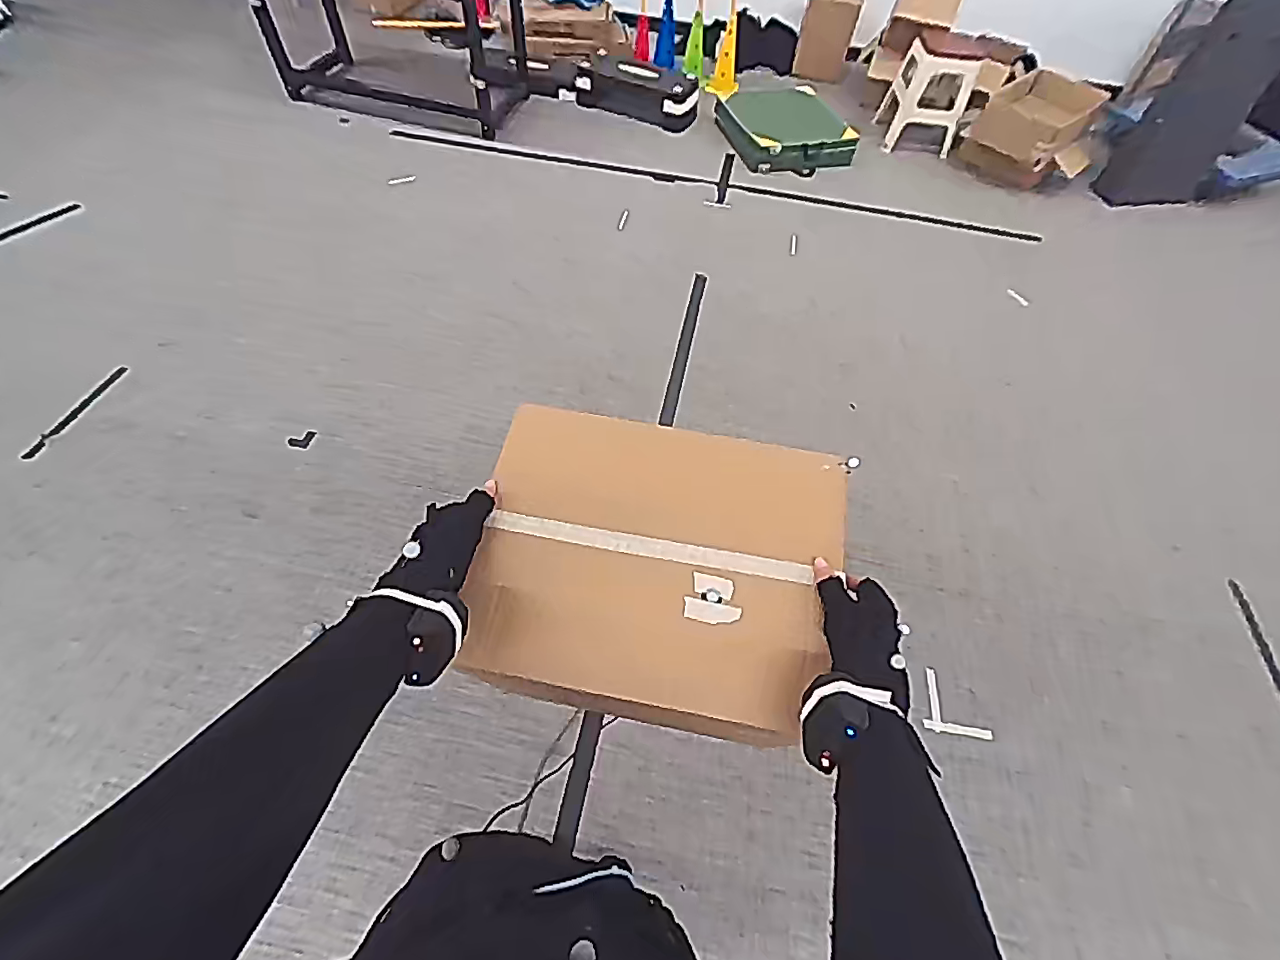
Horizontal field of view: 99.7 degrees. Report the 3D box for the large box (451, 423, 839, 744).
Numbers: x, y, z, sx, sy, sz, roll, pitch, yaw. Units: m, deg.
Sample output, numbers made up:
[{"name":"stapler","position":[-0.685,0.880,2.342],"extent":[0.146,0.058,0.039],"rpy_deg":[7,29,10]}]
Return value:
[{"name":"large box","position":[0.019,0.157,0.741],"extent":[0.408,0.320,0.320],"rpy_deg":[10,64,4]}]
